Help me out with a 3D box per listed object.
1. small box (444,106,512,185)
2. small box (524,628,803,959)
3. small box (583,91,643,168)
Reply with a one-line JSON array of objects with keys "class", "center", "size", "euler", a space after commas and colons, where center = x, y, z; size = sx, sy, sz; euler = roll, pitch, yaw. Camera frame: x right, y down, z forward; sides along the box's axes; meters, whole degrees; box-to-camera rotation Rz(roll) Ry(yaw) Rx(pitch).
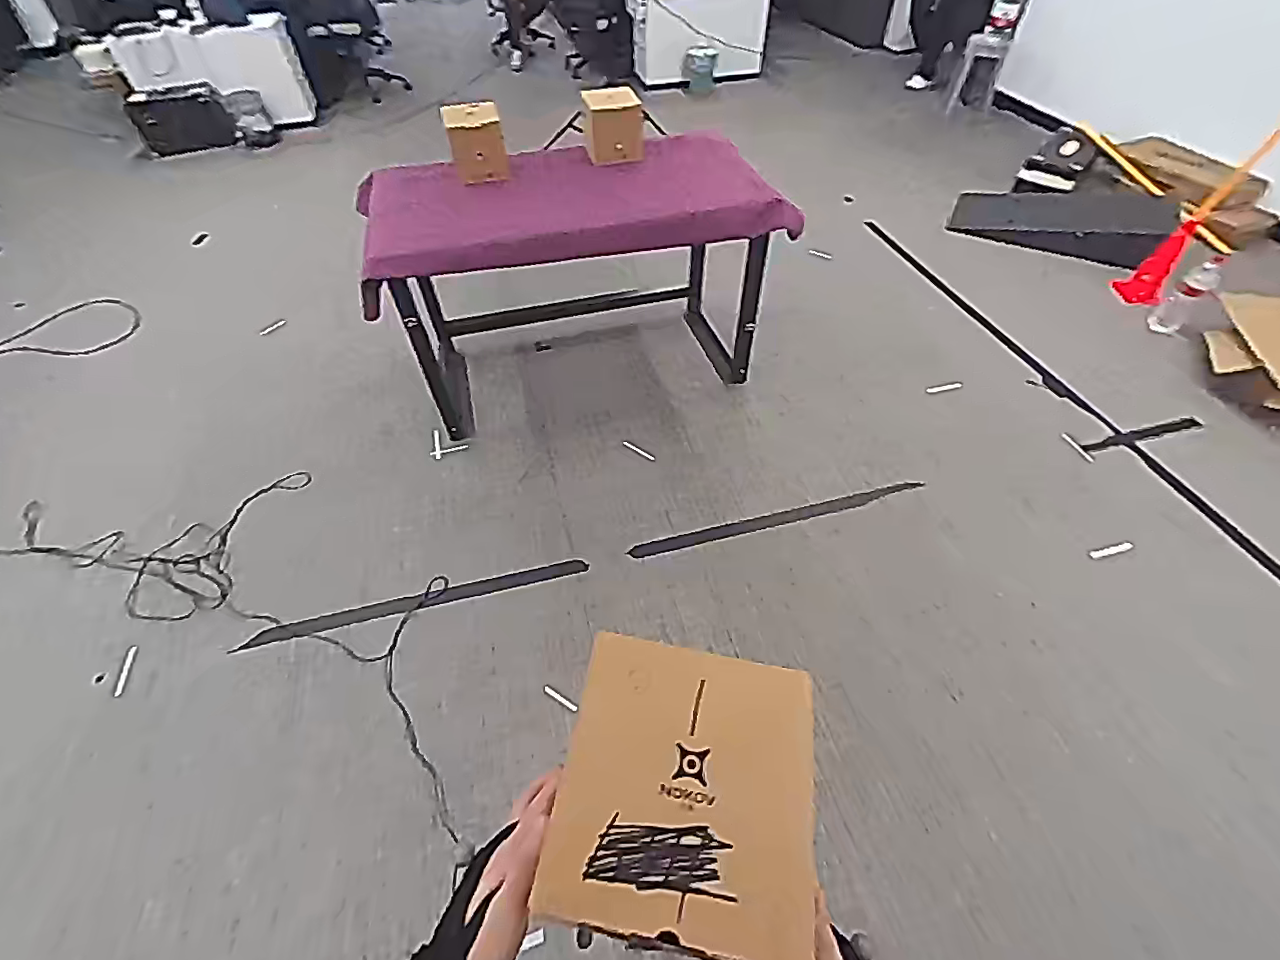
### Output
[{"class": "small box", "center": [-0.517, -1.067, 1.736], "size": [0.168, 0.176, 0.179], "euler": [-13, 54, -10]}, {"class": "small box", "center": [0.024, 0.243, 0.421], "size": [0.168, 0.176, 0.179], "euler": [9, 50, 4]}, {"class": "small box", "center": [-0.089, -1.176, 1.814], "size": [0.168, 0.176, 0.179], "euler": [-13, 53, -8]}]
